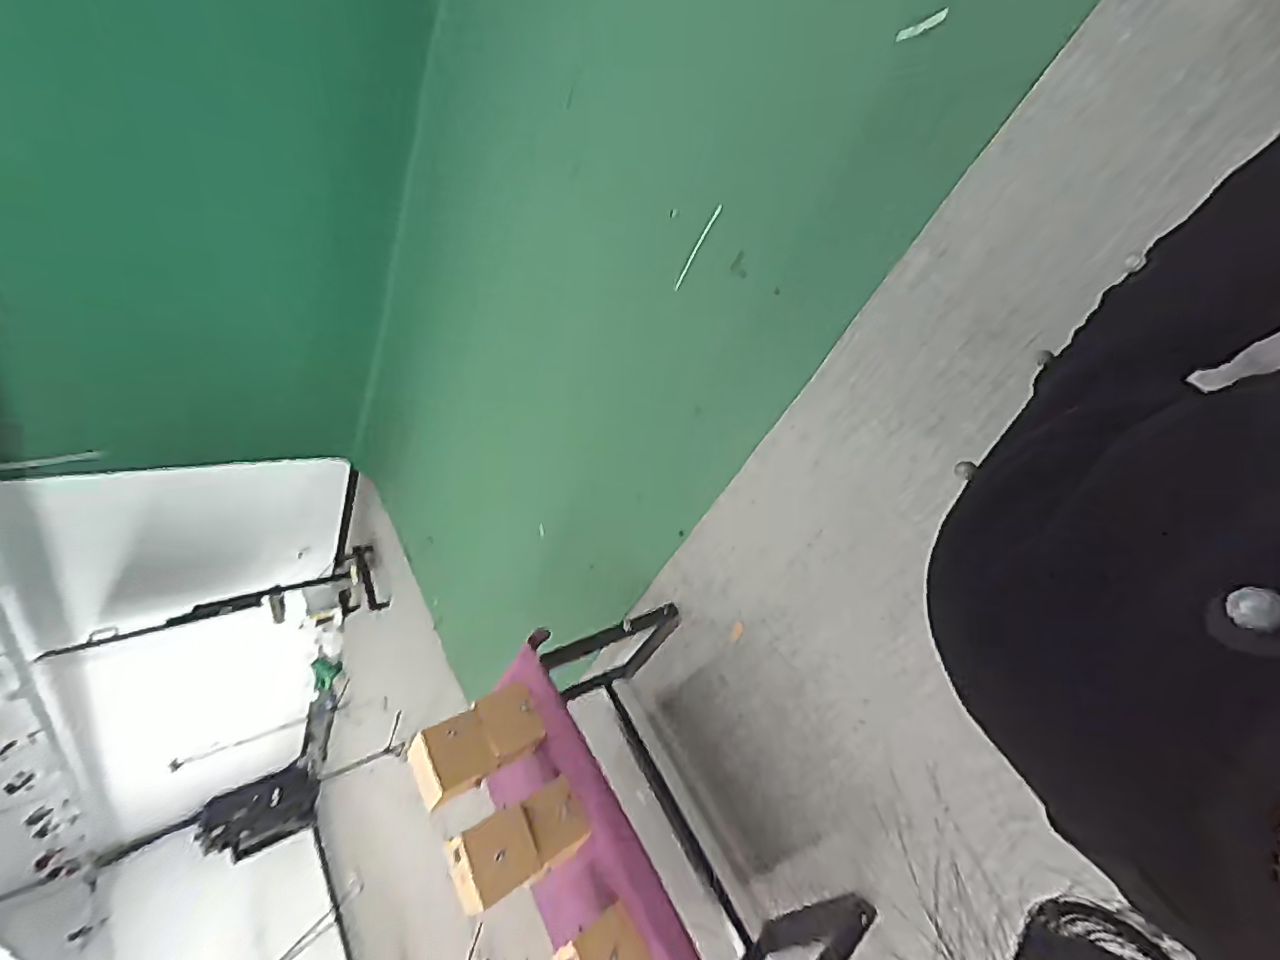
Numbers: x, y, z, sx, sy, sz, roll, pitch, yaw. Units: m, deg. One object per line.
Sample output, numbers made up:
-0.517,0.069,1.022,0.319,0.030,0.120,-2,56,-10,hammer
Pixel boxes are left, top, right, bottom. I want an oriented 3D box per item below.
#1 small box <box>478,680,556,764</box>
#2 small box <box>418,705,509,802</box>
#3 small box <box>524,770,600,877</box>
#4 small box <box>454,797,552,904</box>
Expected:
-0.385,0.734,1.645,0.179,0.176,0.168,51,130,28,small box
-0.501,0.767,1.534,0.179,0.176,0.168,55,132,24,small box
-0.238,0.965,1.527,0.168,0.176,0.179,48,129,30,small box
-0.357,0.958,1.411,0.168,0.176,0.179,-49,63,42,small box
